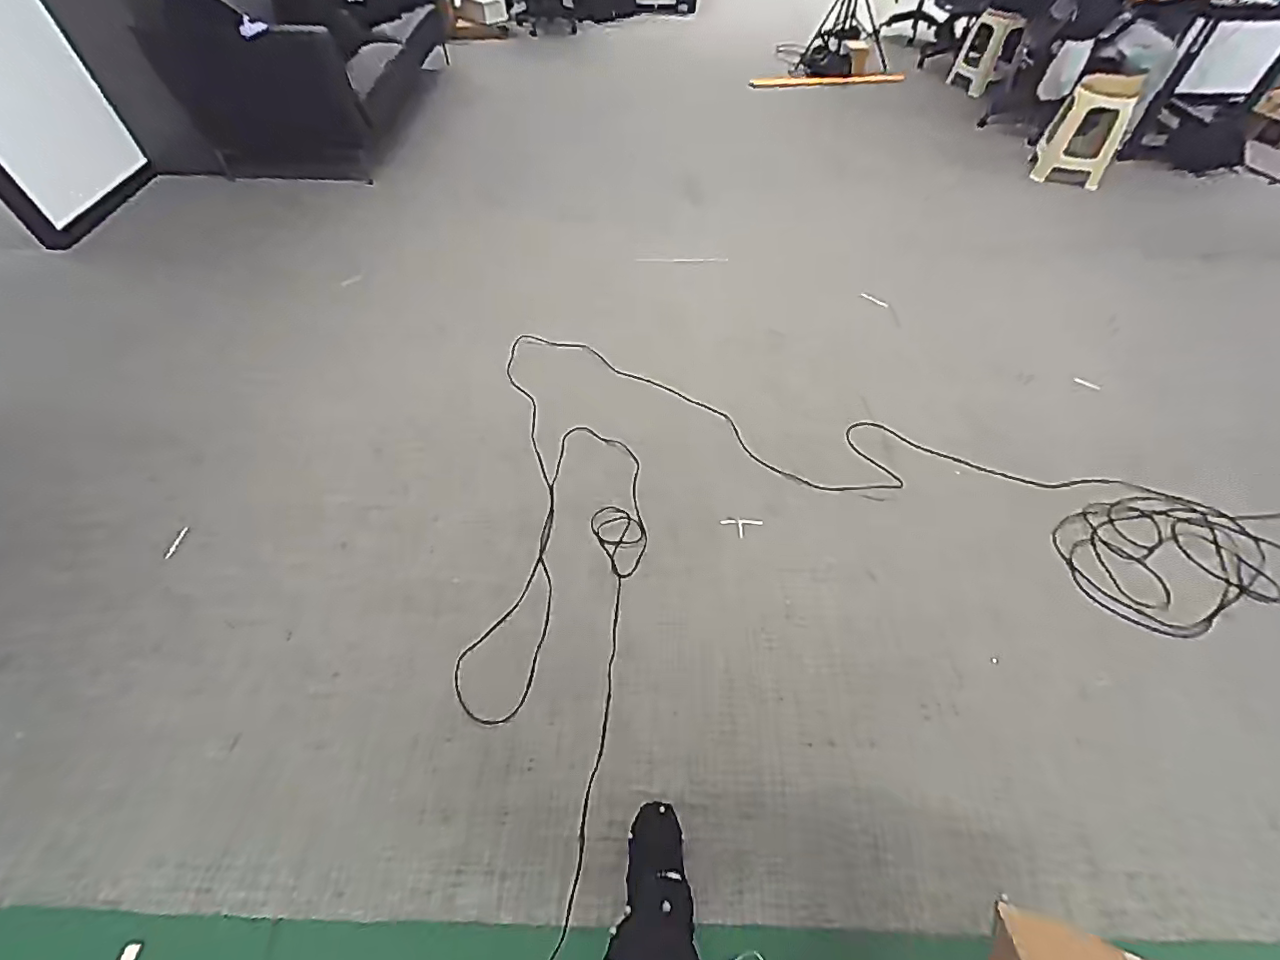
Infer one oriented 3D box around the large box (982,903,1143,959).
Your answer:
[{"bbox_3d":[0.557,0.772,0.553,0.320,0.408,0.320,13,86,22],"label":"large box"}]
